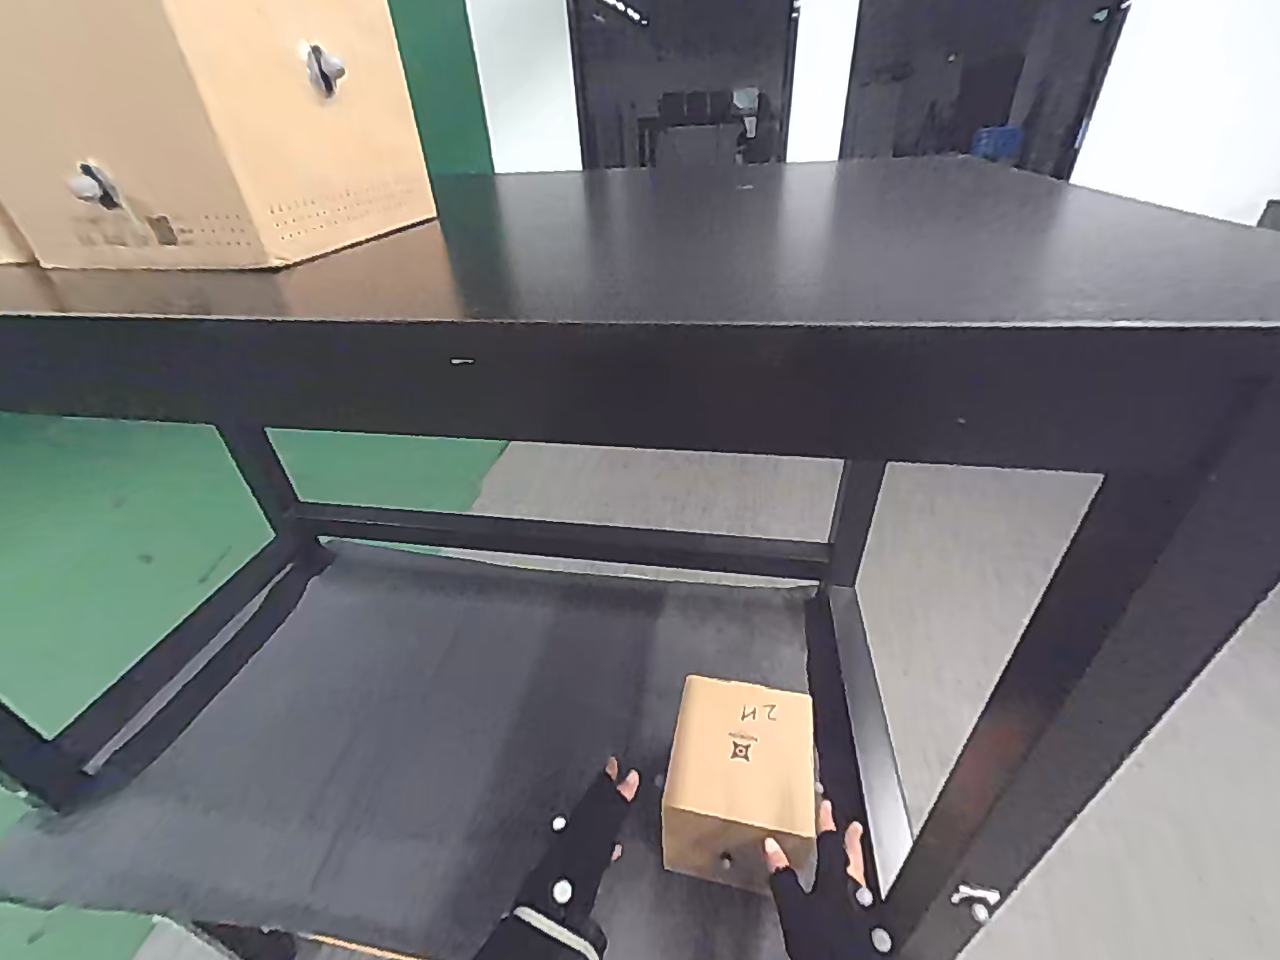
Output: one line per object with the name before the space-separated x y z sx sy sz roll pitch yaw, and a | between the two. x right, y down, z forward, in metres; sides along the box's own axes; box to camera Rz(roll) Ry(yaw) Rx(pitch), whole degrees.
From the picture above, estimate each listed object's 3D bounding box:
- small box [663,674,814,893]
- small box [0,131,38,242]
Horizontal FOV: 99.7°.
small box | 0.128 0.386 0.694 0.168 0.176 0.179 6 35 12
small box | -0.640 -0.261 0.411 0.168 0.176 0.179 5 36 11
